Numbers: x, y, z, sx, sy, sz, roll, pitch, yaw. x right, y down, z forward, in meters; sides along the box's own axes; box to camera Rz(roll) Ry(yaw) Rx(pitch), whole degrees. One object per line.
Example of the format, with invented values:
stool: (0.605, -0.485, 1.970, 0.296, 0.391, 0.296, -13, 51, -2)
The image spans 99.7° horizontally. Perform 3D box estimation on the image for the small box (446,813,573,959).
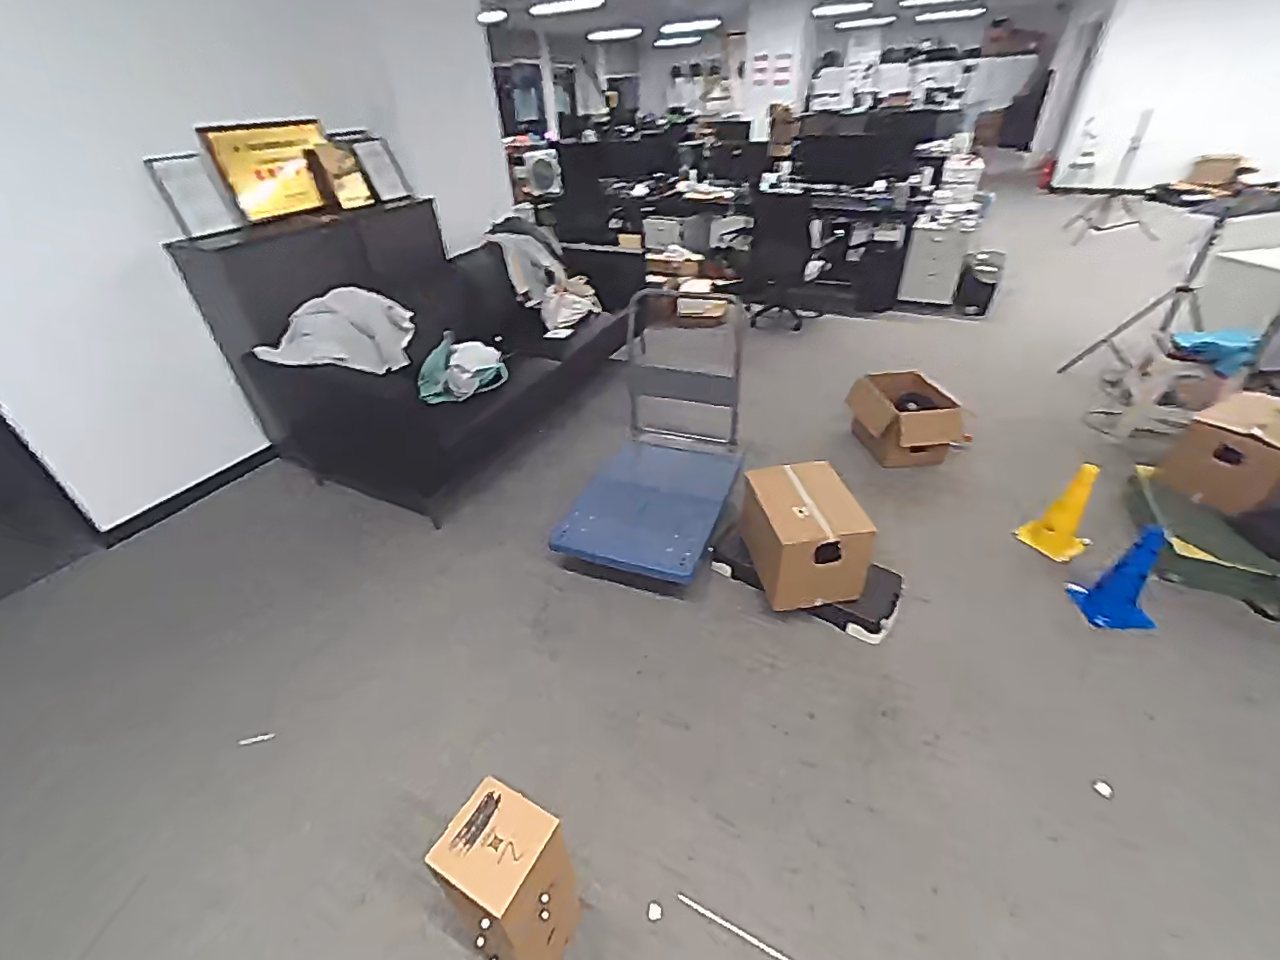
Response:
small box: (-0.250, 0.827, 1.086, 0.168, 0.176, 0.179, 17, 40, 25)

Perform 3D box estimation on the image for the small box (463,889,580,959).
small box: (-0.249, 0.960, 1.183, 0.179, 0.176, 0.168, 15, 40, 25)
